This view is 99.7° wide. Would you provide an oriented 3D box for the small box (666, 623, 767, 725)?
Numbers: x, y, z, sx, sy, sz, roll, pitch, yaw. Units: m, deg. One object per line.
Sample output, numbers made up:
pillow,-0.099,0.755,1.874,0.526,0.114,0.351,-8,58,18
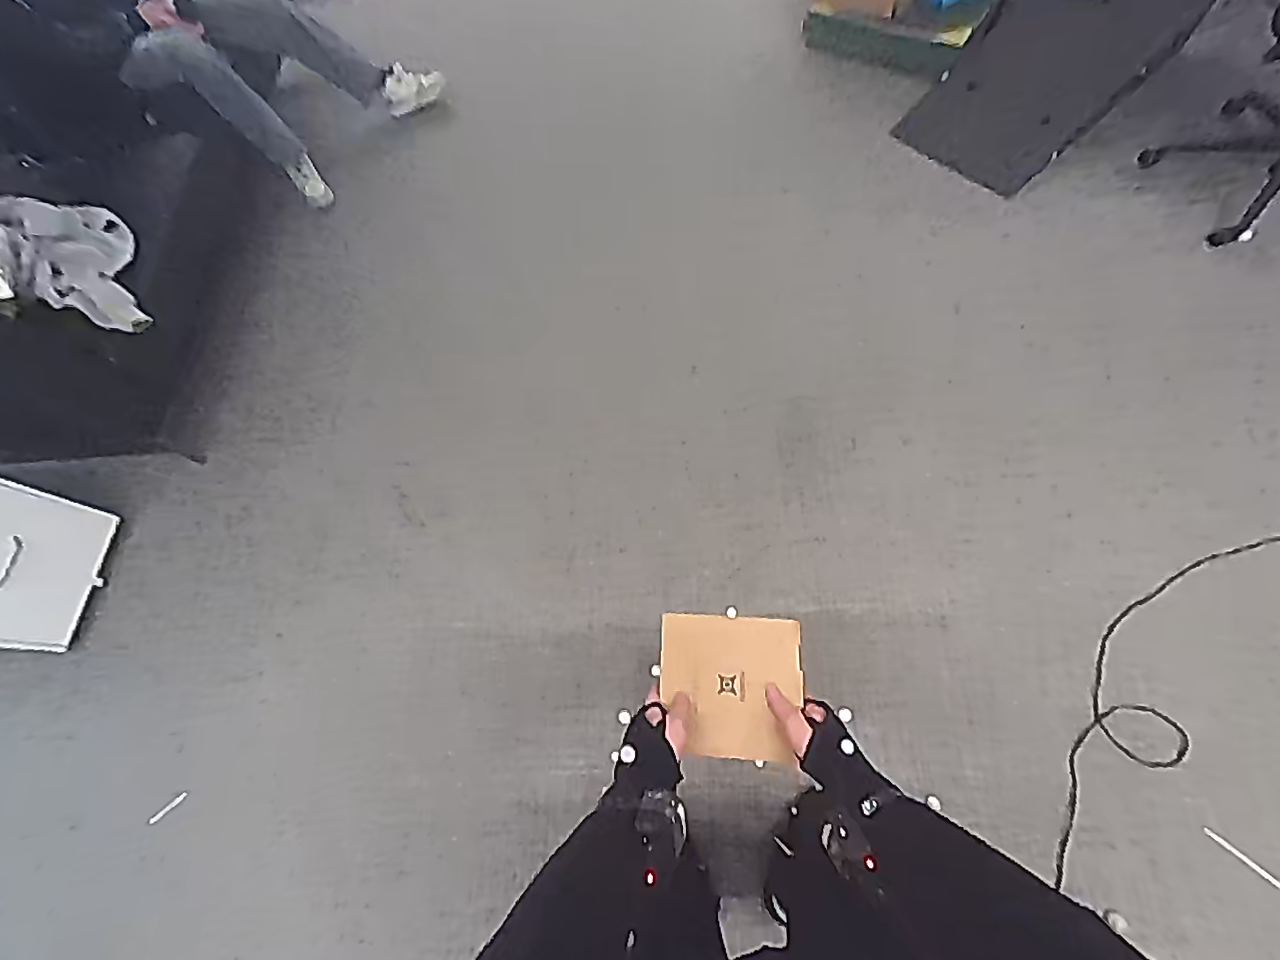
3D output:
small box,0.181,0.455,1.258,0.179,0.176,0.168,-25,64,0
